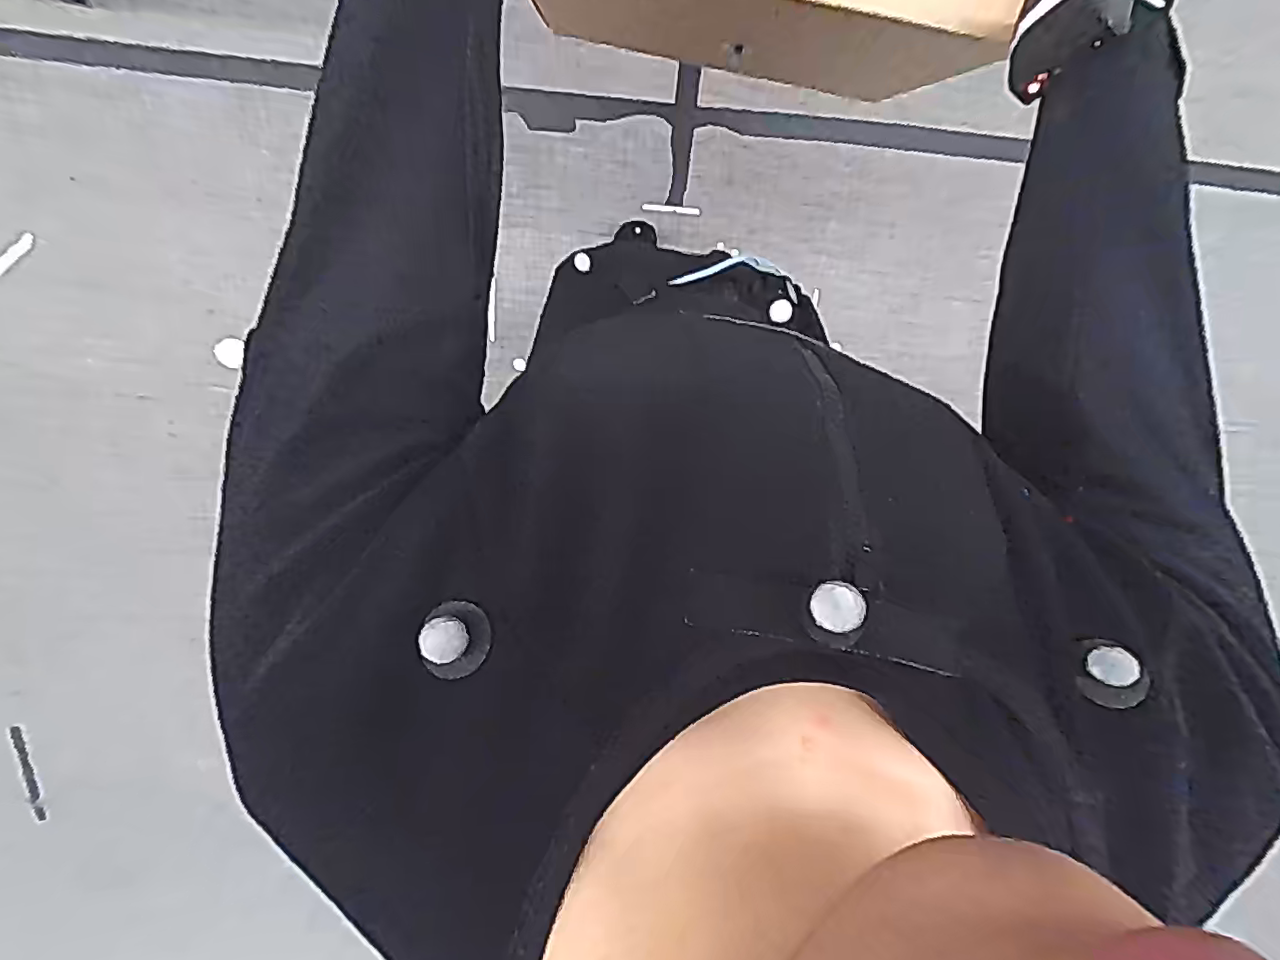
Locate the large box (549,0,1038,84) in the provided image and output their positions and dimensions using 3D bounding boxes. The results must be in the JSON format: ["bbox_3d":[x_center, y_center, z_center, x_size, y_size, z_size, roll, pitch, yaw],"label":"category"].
[{"bbox_3d":[0.122,-0.566,0.448,0.408,0.320,0.320,9,118,-5],"label":"large box"}]
